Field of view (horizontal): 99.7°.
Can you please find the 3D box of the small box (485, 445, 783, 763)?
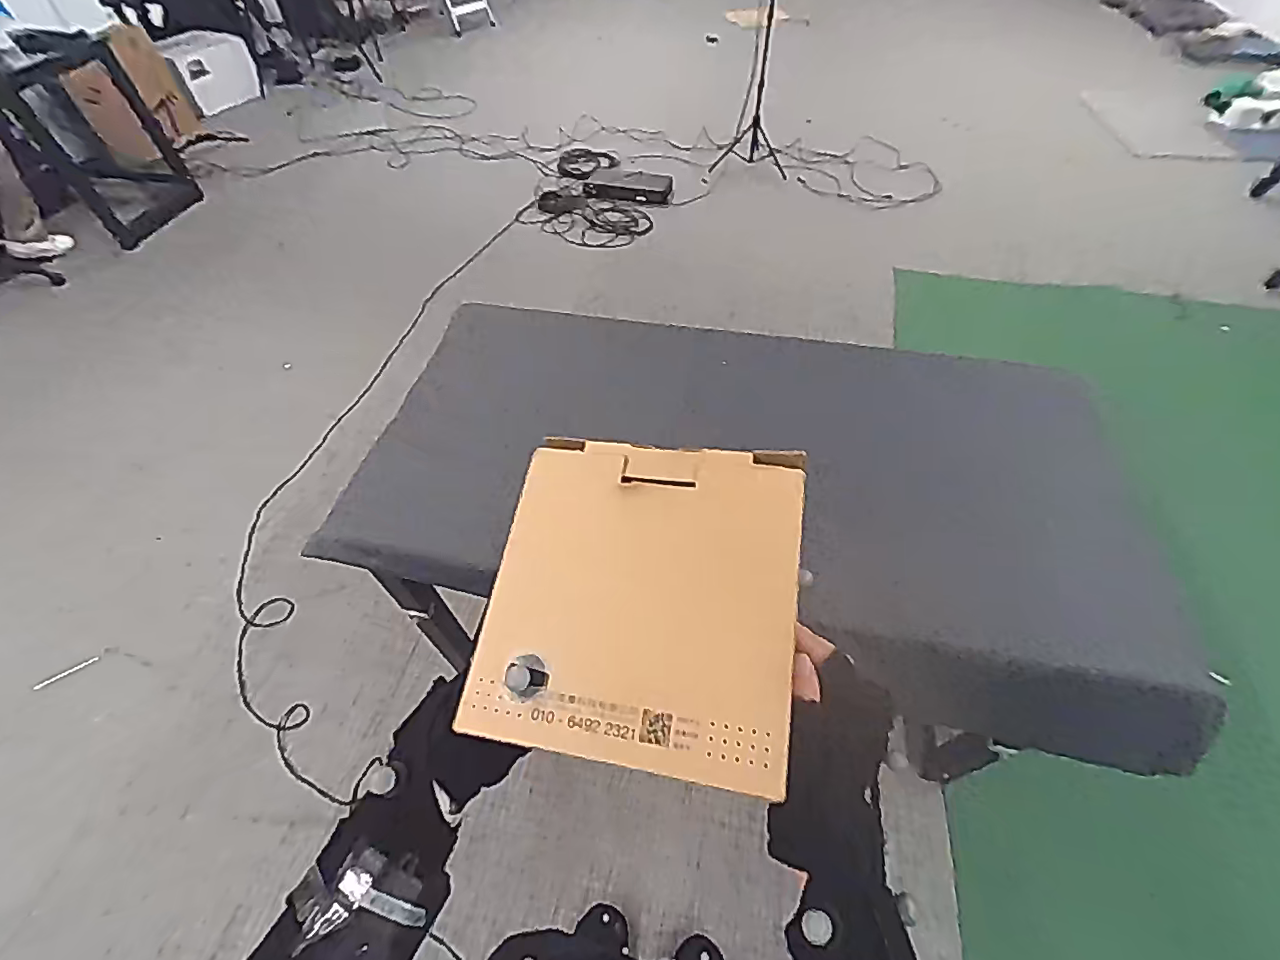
[{"bbox_3d":[0.010,0.093,0.382,0.168,0.179,0.176,6,66,13],"label":"small box"}]
